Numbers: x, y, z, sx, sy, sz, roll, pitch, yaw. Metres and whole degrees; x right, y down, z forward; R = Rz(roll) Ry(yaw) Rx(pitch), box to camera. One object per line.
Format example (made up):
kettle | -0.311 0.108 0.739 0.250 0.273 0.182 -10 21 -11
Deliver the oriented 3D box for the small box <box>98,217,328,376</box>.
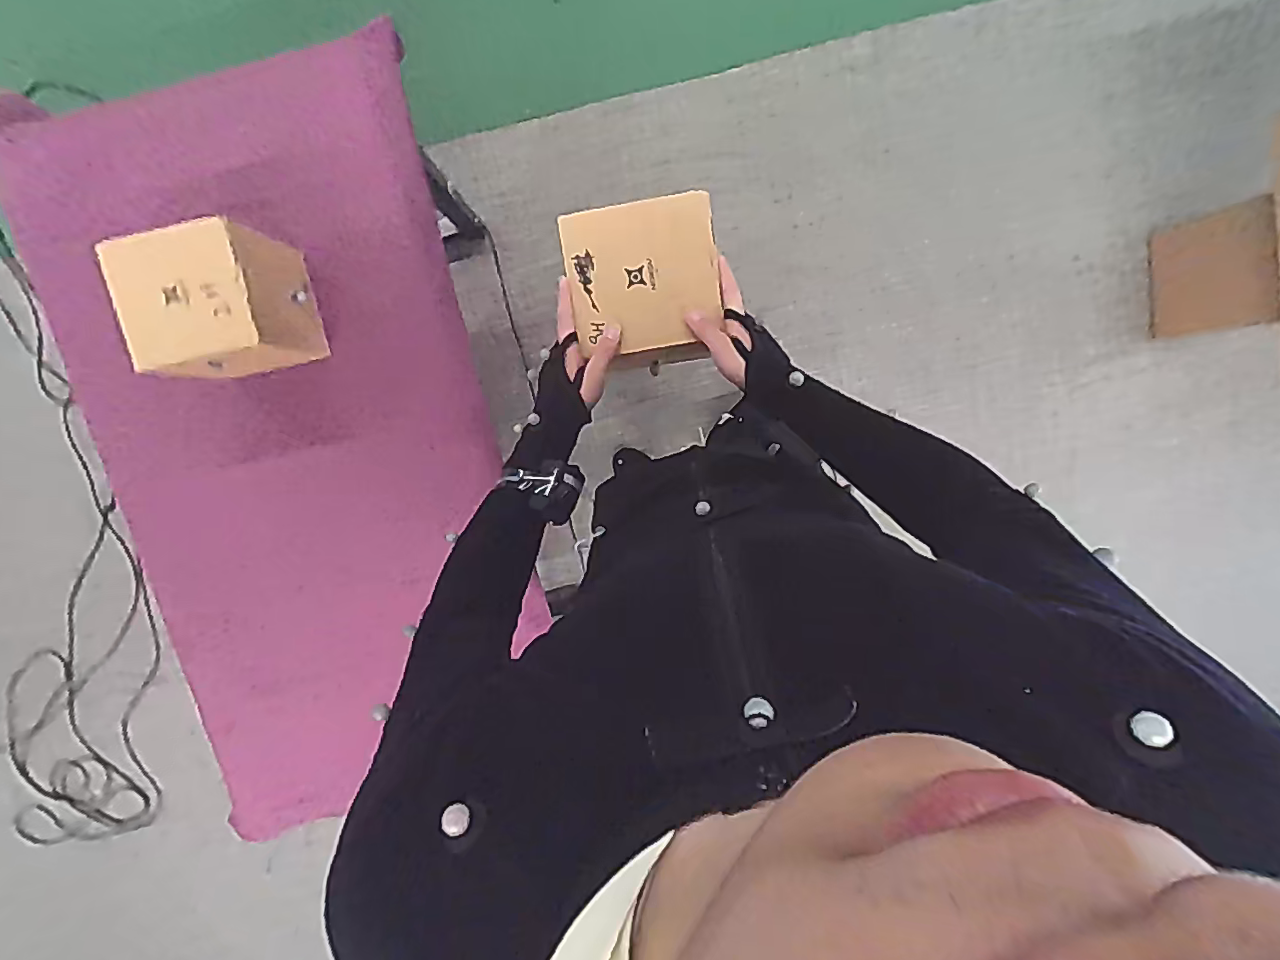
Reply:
small box | -0.599 -0.251 0.782 0.179 0.176 0.168 -12 98 1

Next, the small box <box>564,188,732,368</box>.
small box | 0.011 -0.243 0.690 0.179 0.176 0.168 -8 95 2
